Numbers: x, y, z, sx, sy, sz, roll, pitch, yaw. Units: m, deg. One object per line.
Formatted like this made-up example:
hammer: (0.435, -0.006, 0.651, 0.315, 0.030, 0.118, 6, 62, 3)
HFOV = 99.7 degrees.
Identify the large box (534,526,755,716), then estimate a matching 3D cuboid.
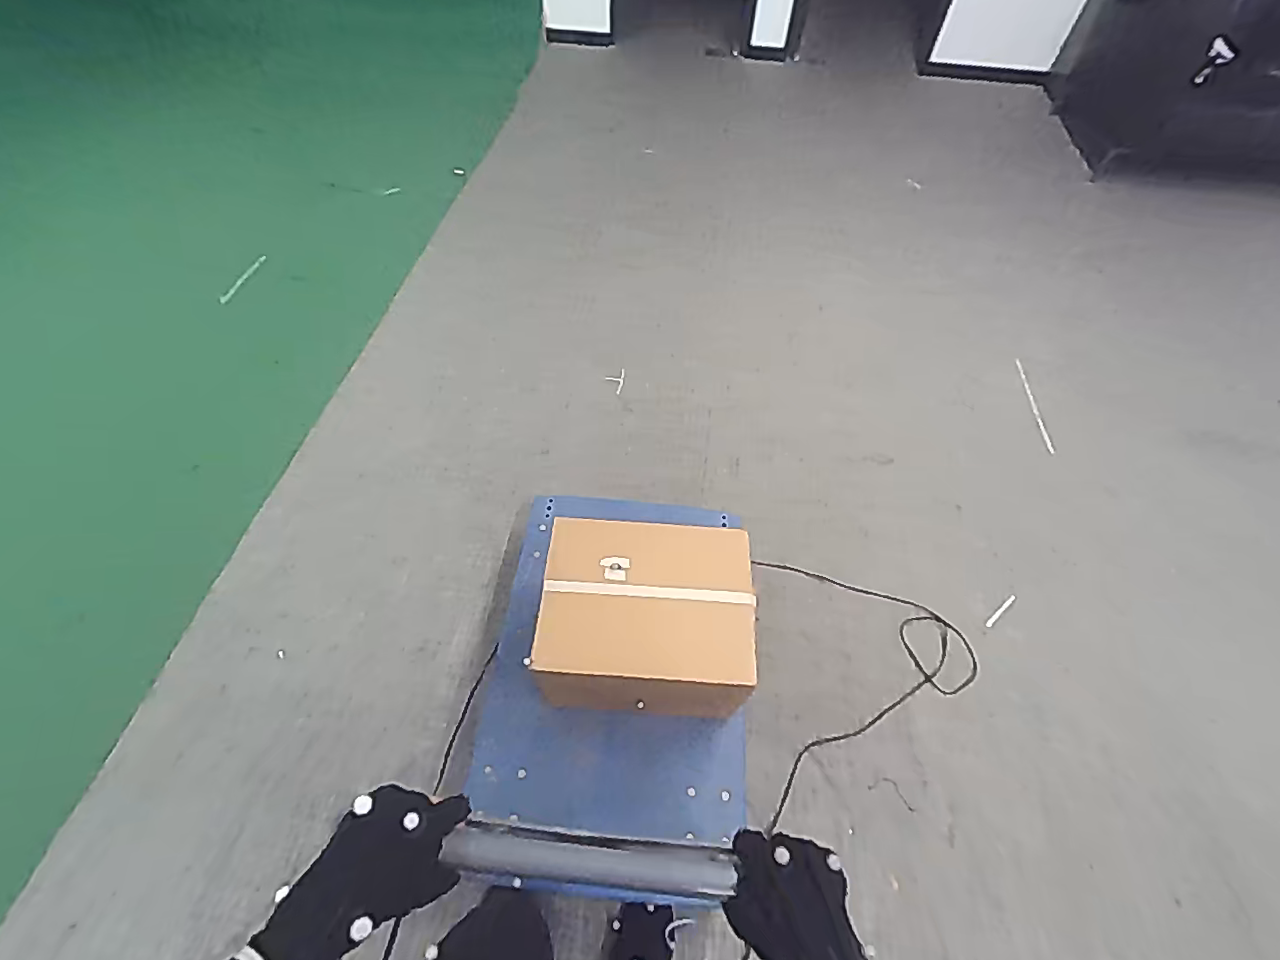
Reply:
large box: (0.016, 0.312, 1.167, 0.408, 0.320, 0.320, 3, 55, 2)
